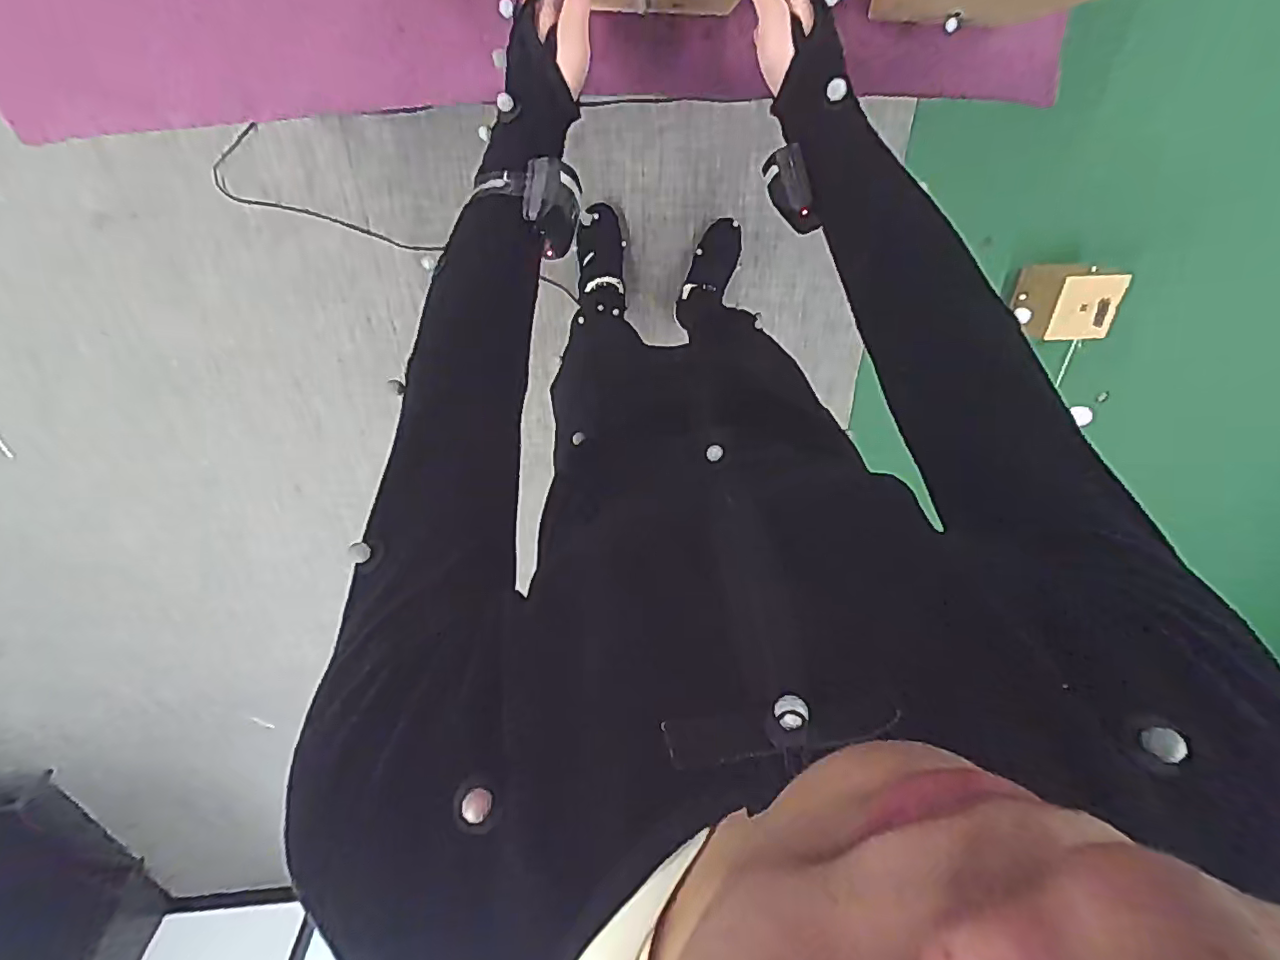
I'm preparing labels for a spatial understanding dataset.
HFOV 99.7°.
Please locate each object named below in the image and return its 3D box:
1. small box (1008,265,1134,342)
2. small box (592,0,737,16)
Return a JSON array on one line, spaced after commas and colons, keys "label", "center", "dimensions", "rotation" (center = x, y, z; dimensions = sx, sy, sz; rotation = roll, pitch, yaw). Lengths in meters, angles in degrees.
[{"label": "small box", "center": [1.157, -0.482, 1.467], "dimensions": [0.179, 0.176, 0.168], "rotation": [-2, 121, -2]}, {"label": "small box", "center": [0.026, -0.544, 0.482], "dimensions": [0.168, 0.176, 0.179], "rotation": [-1, 121, -4]}]
